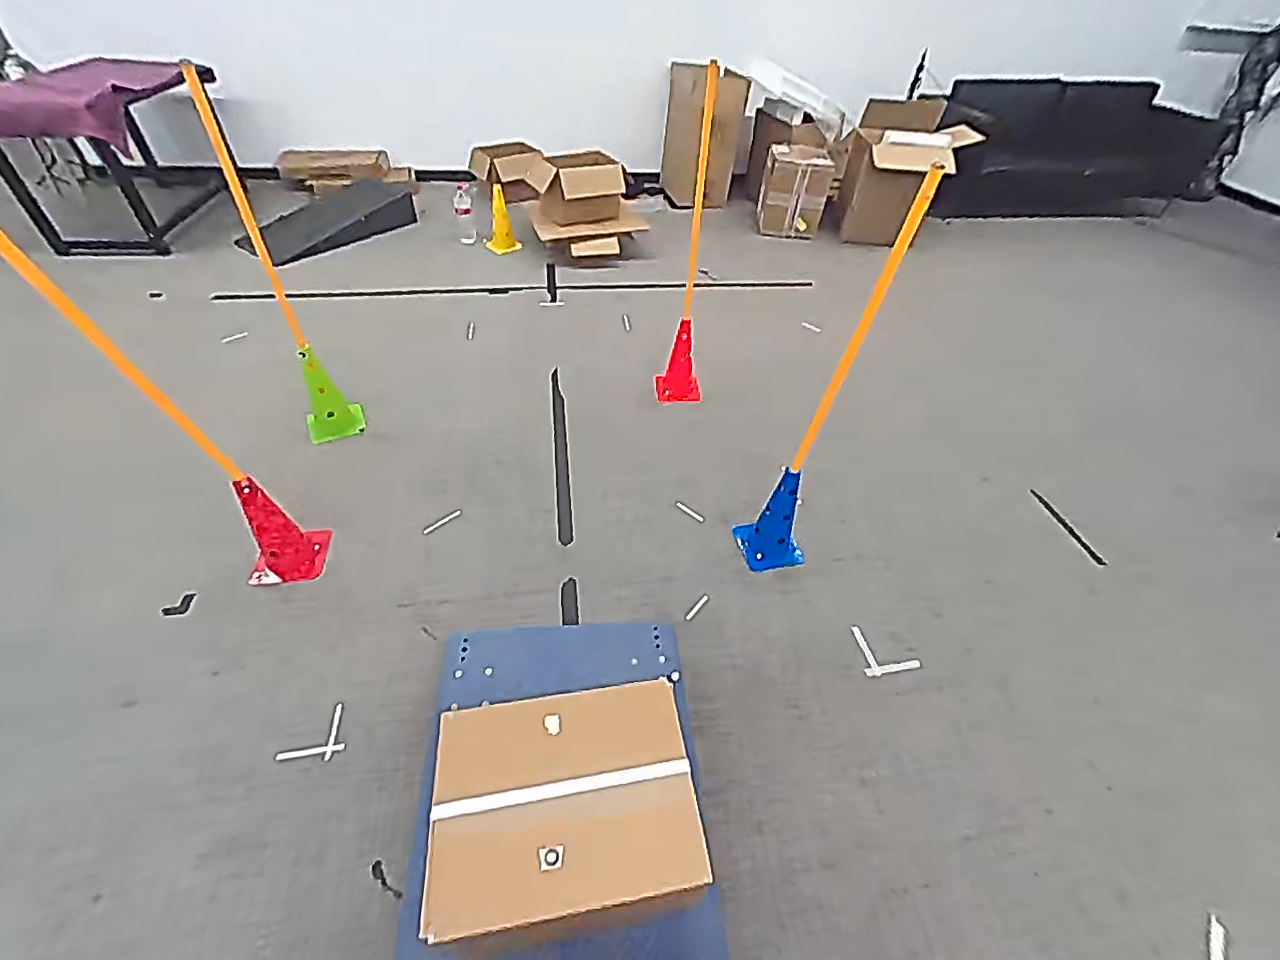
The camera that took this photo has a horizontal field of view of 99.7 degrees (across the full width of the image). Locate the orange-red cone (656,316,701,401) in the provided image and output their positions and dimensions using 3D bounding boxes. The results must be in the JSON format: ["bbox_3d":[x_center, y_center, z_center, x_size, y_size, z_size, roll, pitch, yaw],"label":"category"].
[{"bbox_3d":[0.183,-0.541,2.341,0.199,0.360,0.198,1,45,-5],"label":"orange-red cone"}]

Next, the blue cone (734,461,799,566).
[{"bbox_3d":[0.446,0.095,1.743,0.193,0.380,0.192,-7,45,-12],"label":"blue cone"}]
